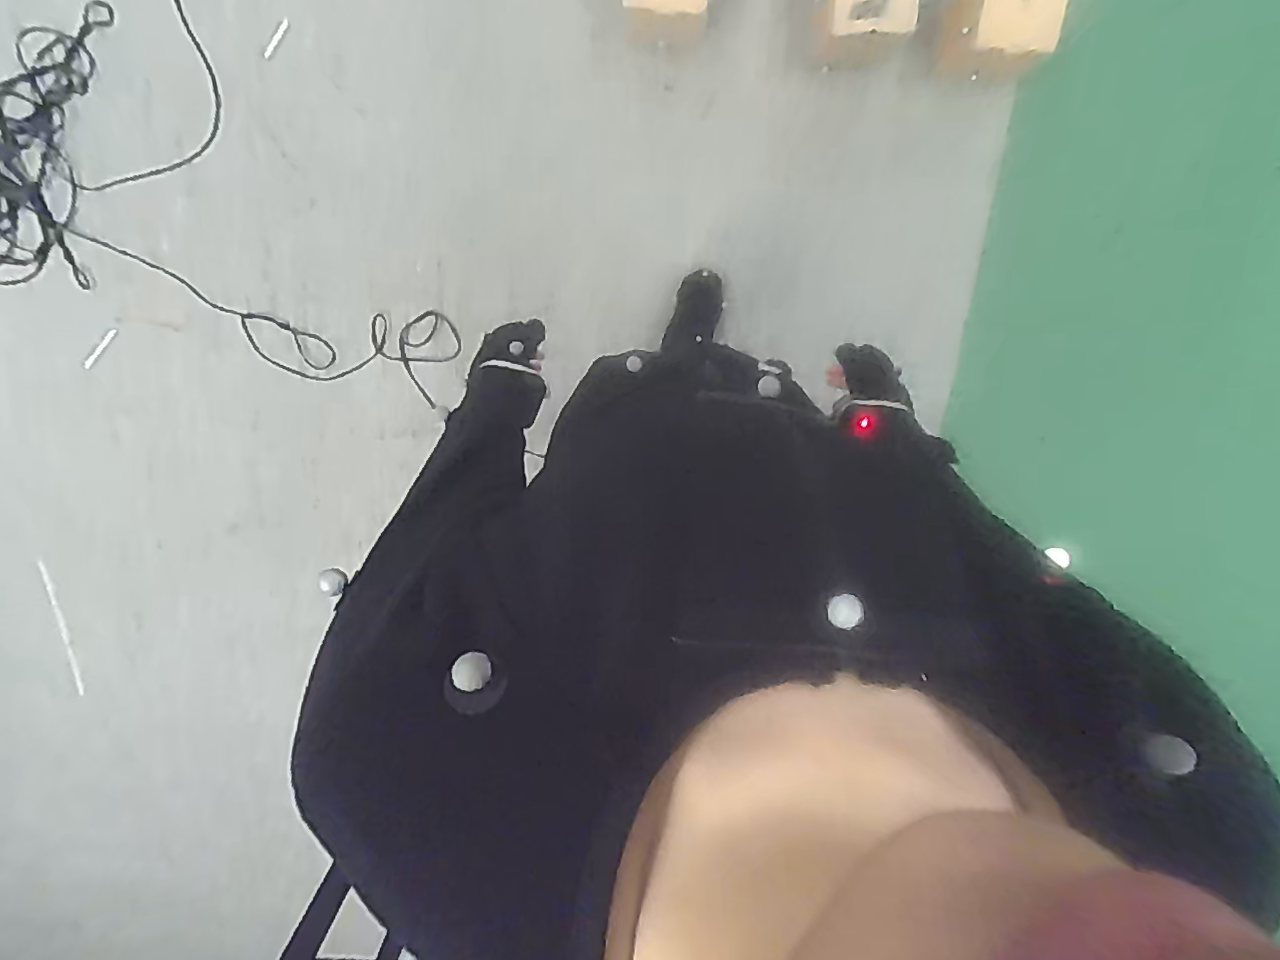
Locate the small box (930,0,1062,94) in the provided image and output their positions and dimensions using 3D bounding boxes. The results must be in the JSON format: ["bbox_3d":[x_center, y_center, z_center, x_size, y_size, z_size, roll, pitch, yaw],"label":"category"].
[{"bbox_3d":[0.742,-0.952,1.136,0.168,0.176,0.179,3,107,-1],"label":"small box"}]
